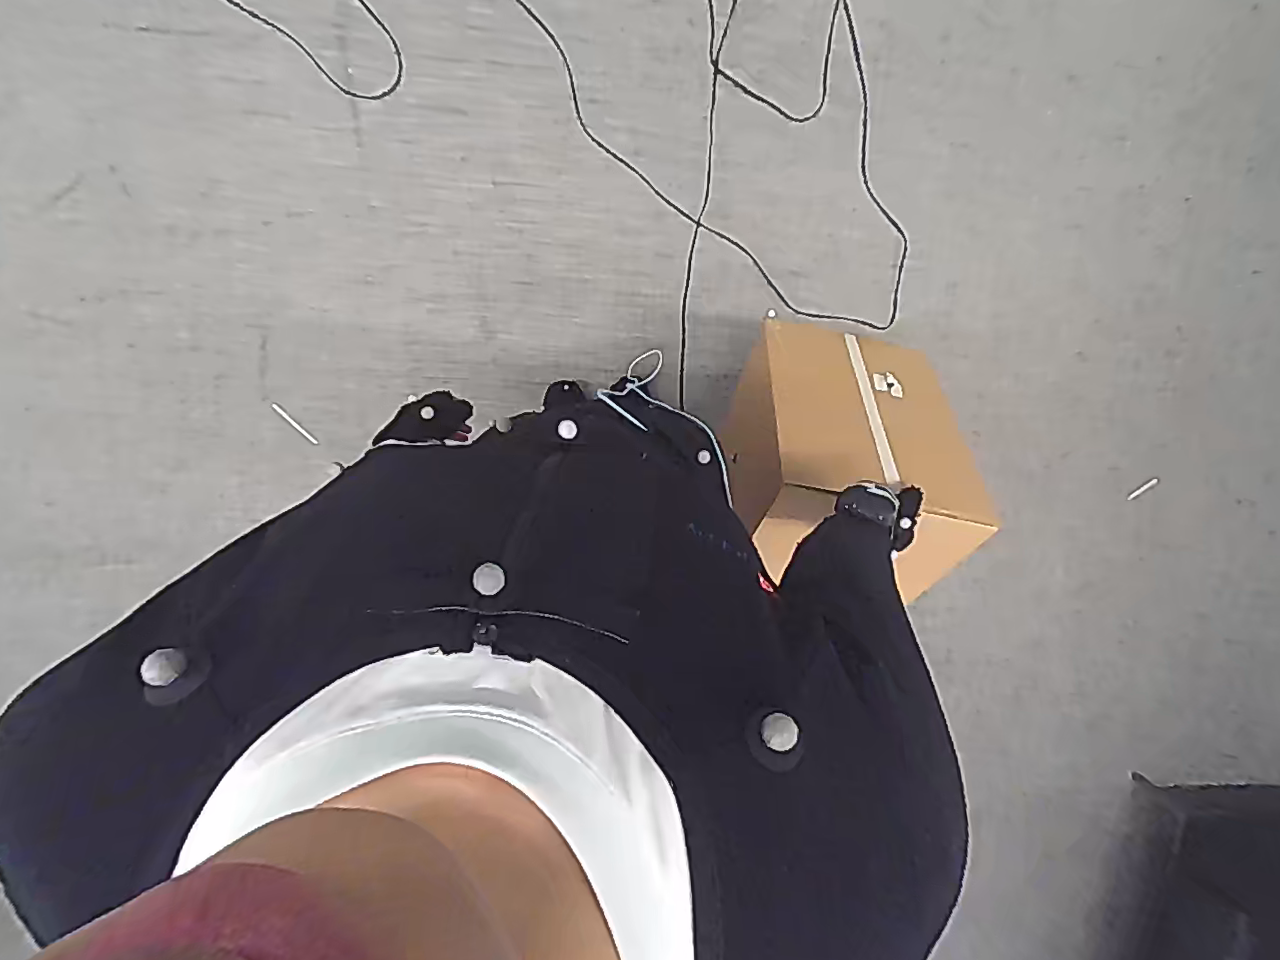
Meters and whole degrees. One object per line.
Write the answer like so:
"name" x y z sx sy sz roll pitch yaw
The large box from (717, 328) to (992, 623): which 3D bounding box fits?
"large box" 0.329 -0.006 0.975 0.320 0.408 0.320 12 138 -6
